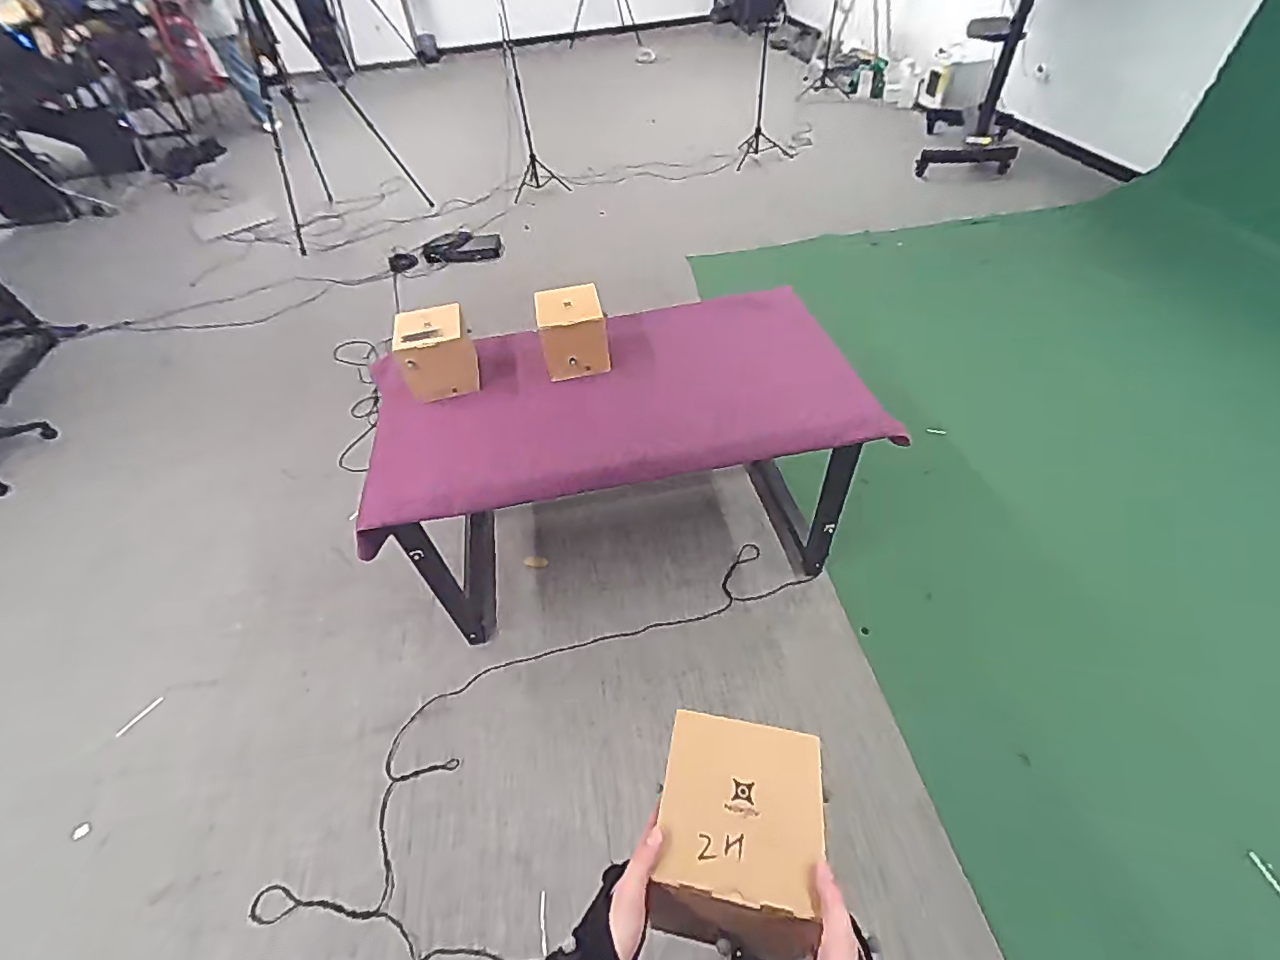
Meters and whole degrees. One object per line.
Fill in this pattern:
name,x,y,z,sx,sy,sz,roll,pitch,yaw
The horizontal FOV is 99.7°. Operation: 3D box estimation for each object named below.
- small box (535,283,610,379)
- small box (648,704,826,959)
small box,-0.179,-0.394,1.434,0.168,0.176,0.179,-11,50,-4
small box,0.105,0.389,0.604,0.168,0.176,0.179,6,38,11
